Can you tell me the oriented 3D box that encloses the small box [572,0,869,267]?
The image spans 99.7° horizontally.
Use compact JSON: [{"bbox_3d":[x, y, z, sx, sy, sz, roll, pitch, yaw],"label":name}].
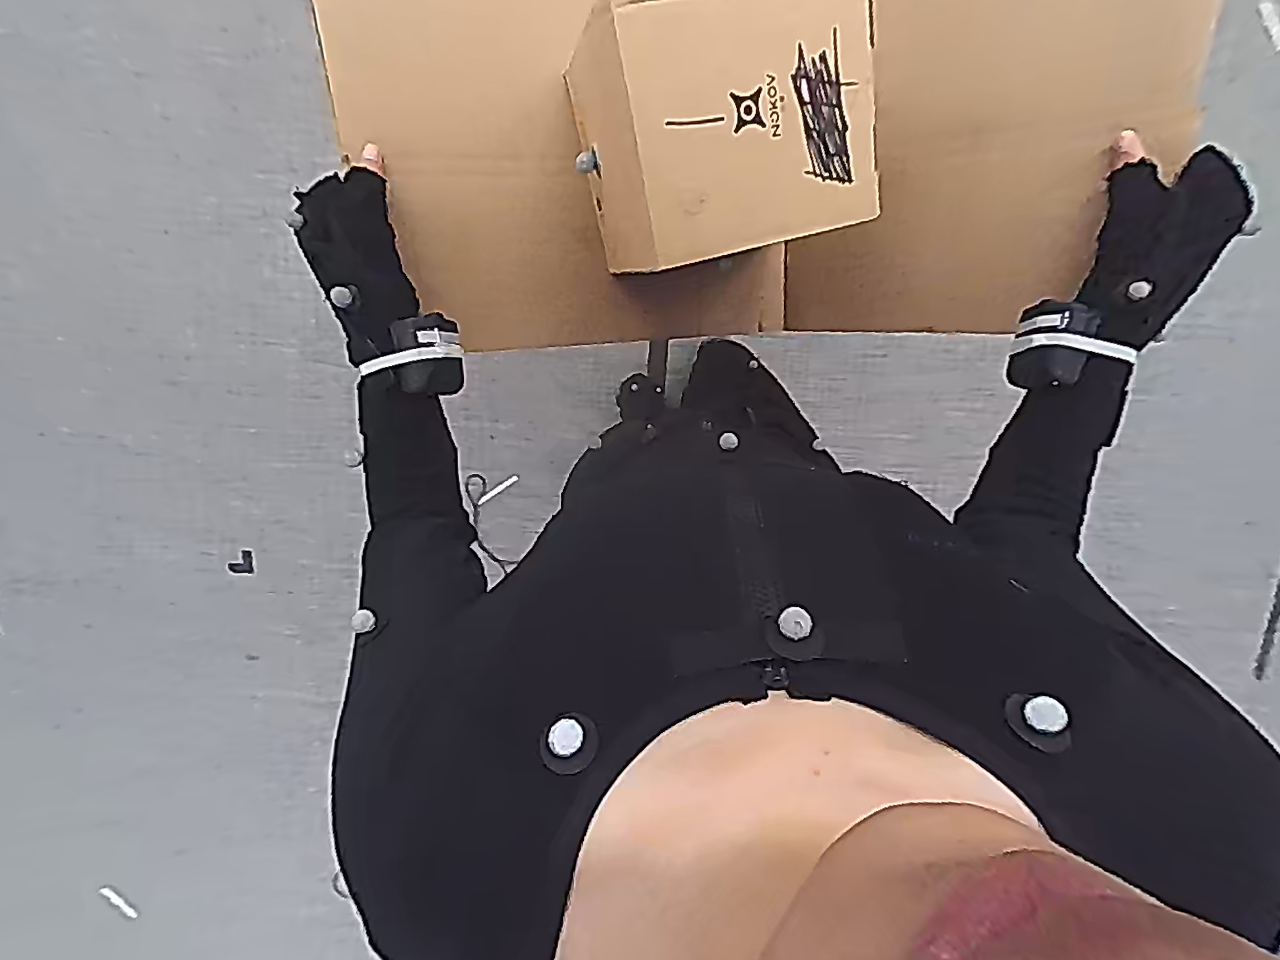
[{"bbox_3d":[0.056,-0.276,0.437,0.179,0.176,0.168,-16,113,-9],"label":"small box"}]
